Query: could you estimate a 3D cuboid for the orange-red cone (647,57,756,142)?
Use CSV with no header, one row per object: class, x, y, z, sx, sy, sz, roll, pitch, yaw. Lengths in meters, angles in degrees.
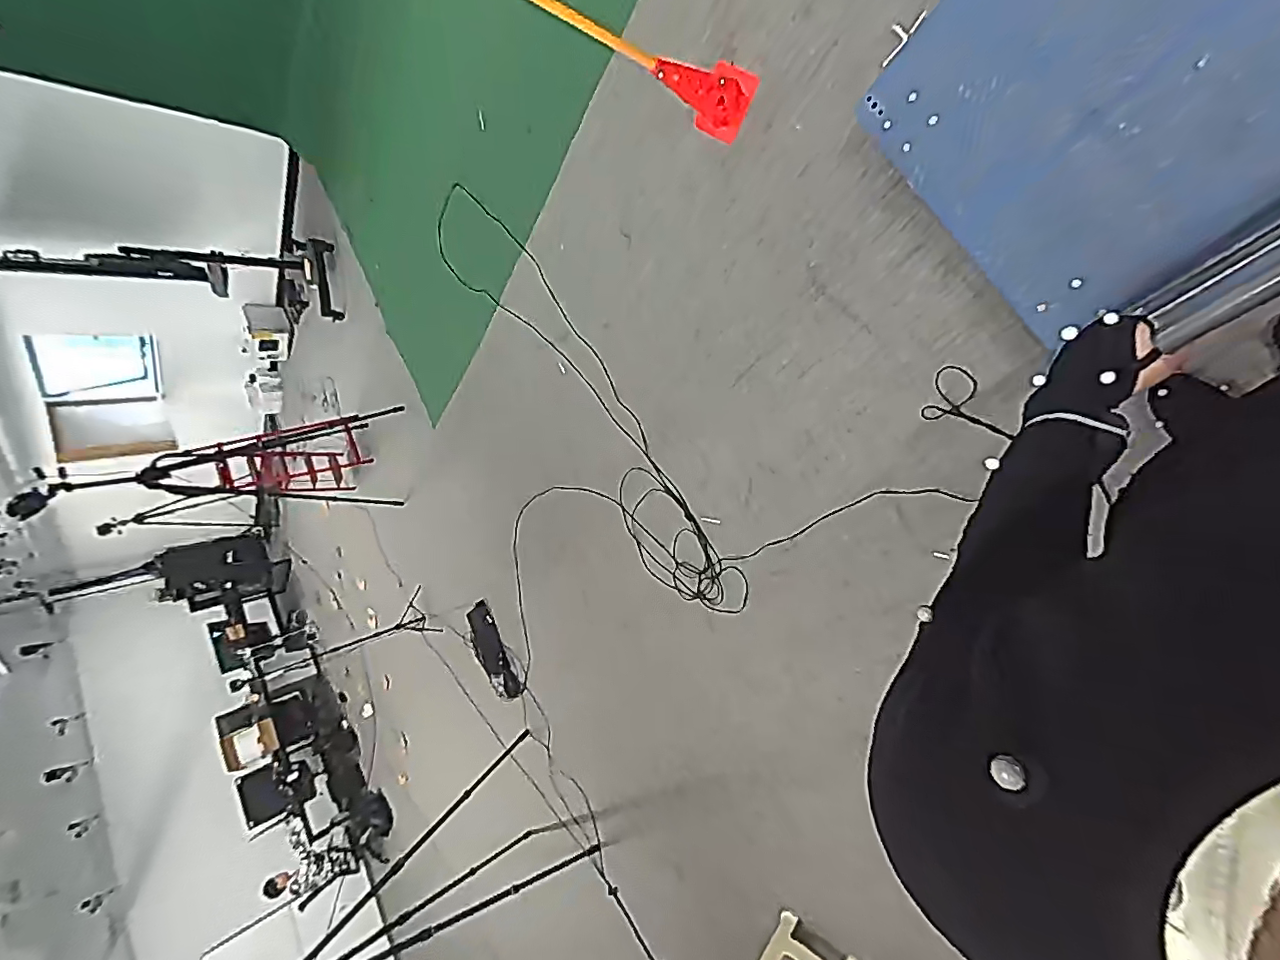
orange-red cone,0.158,-1.226,1.675,0.198,0.360,0.199,48,131,27
